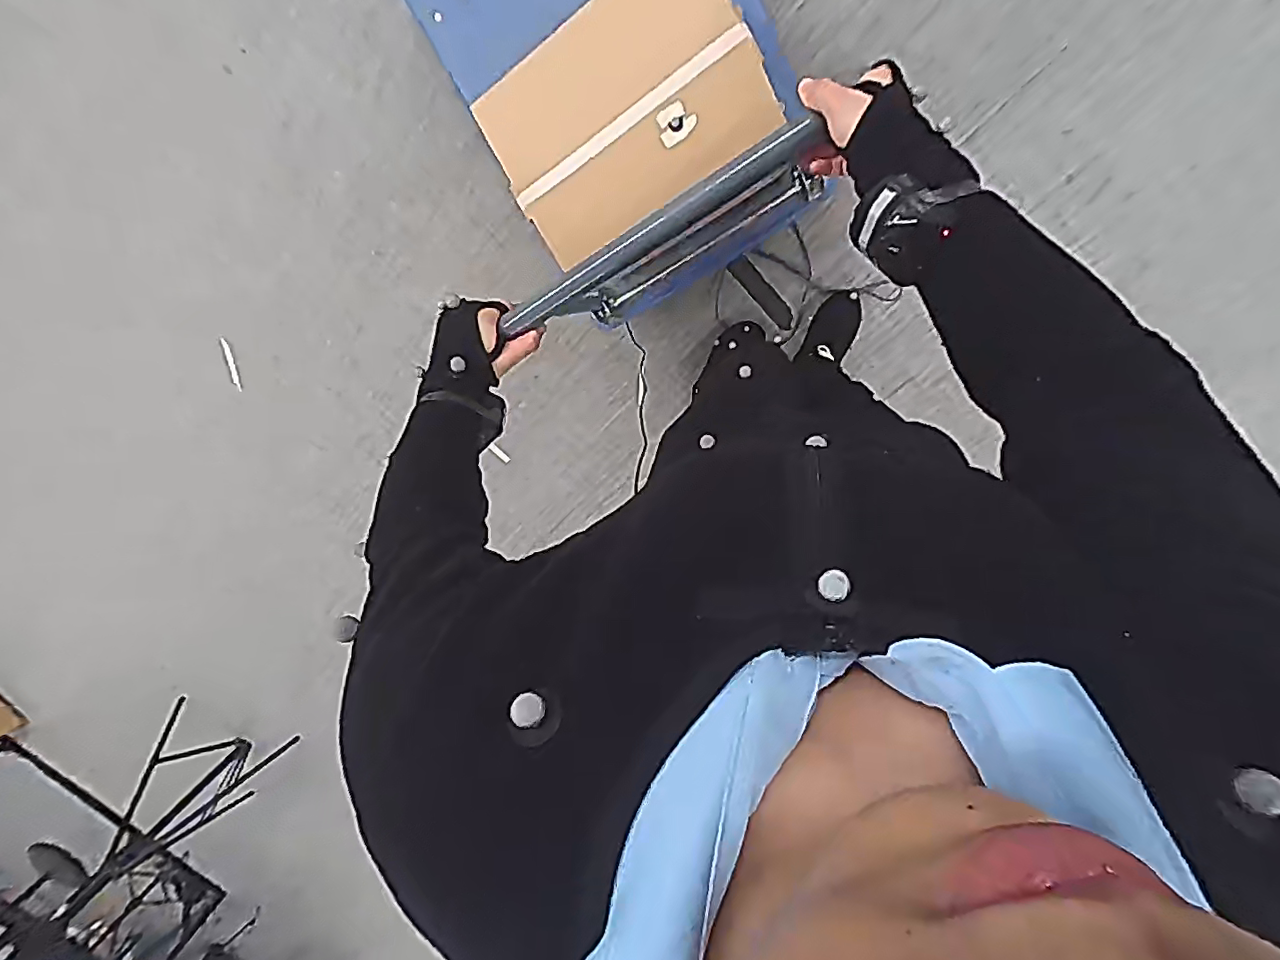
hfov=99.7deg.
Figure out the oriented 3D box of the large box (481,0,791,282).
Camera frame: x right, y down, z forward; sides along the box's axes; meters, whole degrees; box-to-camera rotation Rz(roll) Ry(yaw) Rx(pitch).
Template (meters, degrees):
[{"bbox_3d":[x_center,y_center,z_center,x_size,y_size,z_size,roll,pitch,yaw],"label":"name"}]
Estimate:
[{"bbox_3d":[0.011,-0.599,0.962,0.408,0.320,0.320,-26,104,20],"label":"large box"}]
